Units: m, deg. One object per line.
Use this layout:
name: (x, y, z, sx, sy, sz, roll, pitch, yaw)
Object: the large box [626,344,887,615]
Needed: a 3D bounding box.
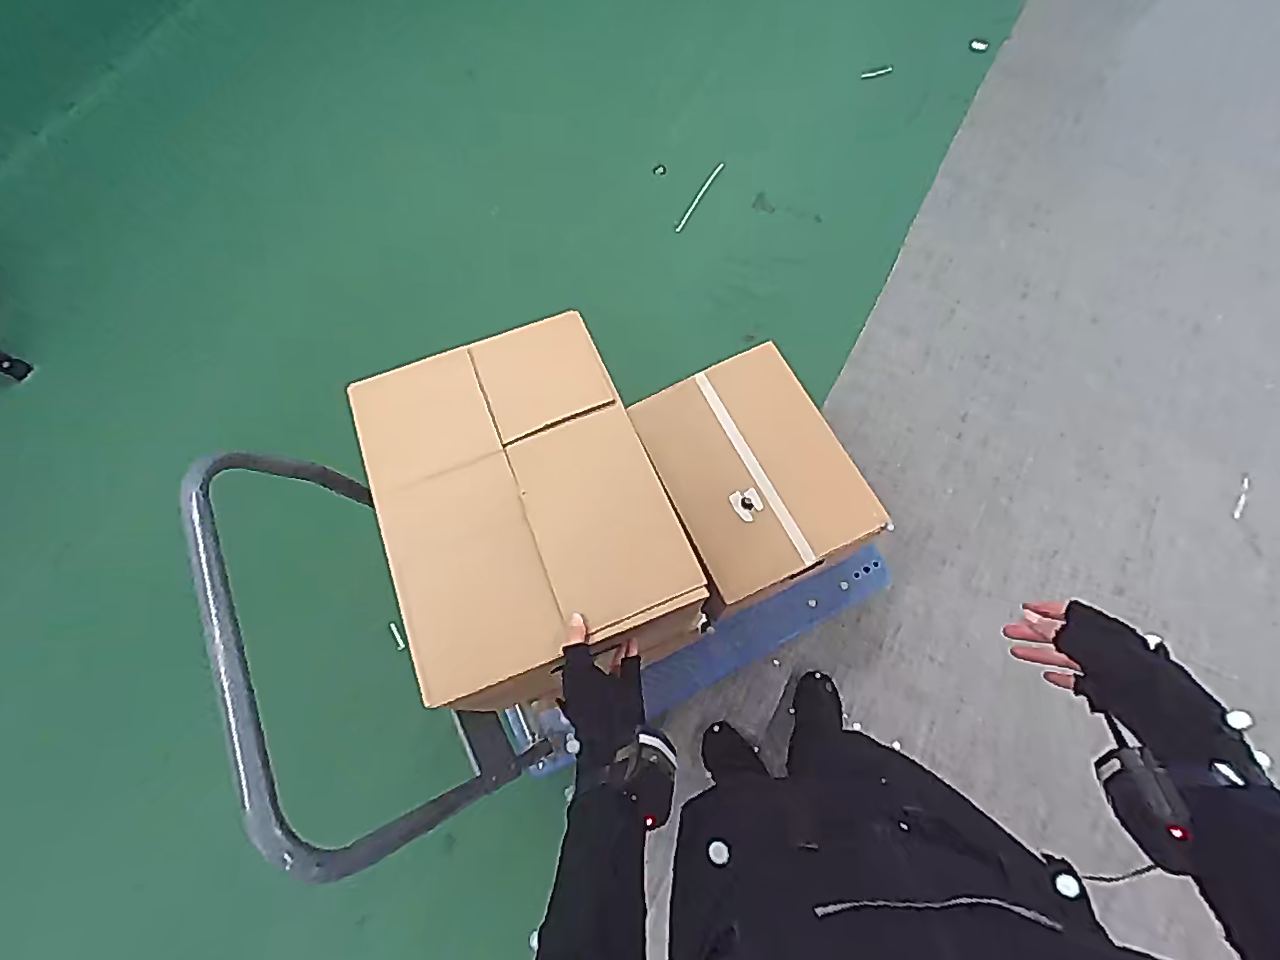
large box: (0.203, 0.015, 1.094, 0.320, 0.320, 0.408, -25, 71, -3)
